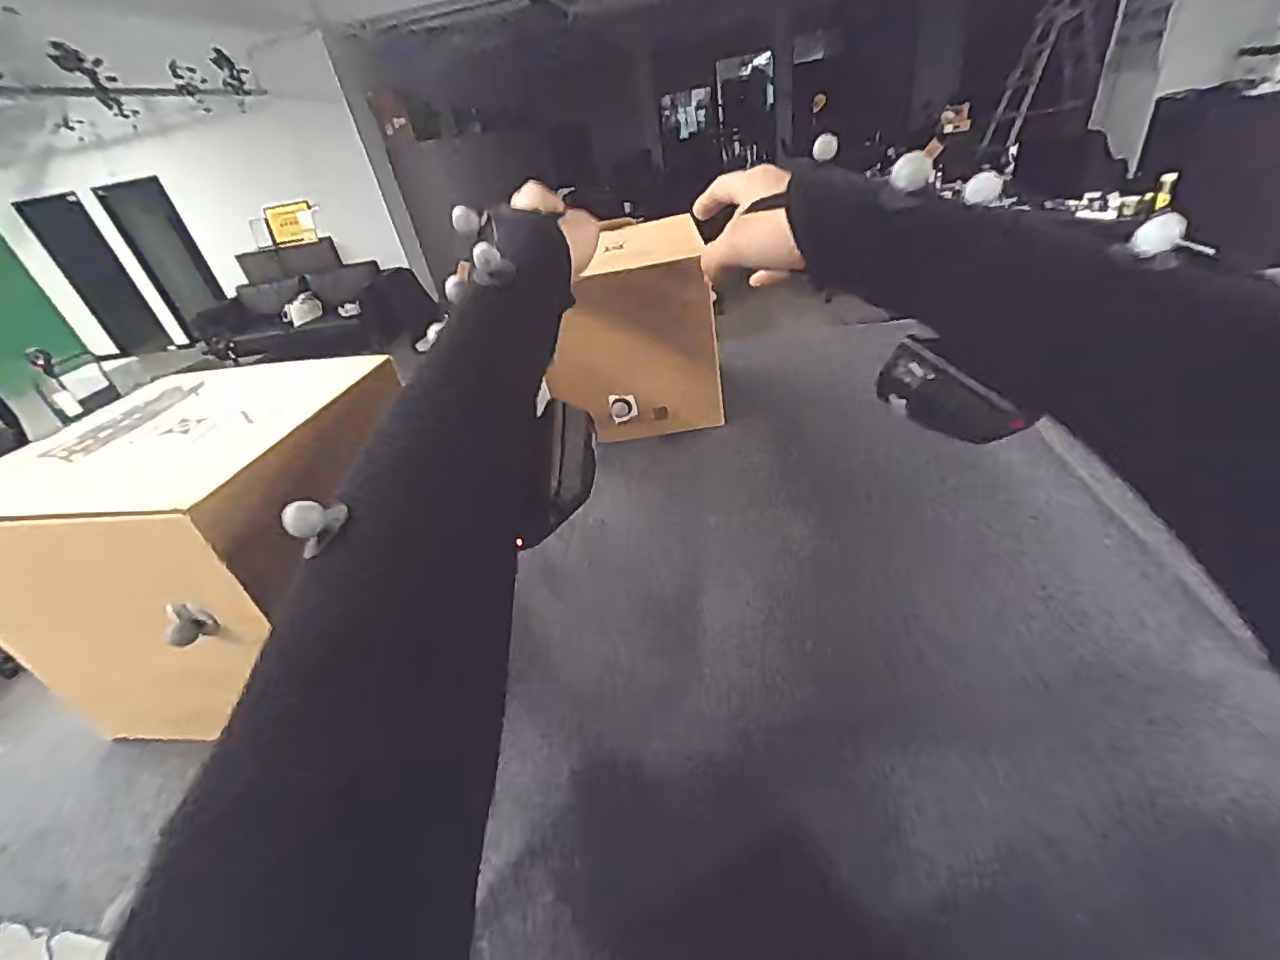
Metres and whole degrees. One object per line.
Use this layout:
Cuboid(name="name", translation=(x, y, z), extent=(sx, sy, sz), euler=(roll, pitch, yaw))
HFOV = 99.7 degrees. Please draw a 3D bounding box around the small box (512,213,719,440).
Cuboid(name="small box", translation=(-0.015, -0.160, 0.559), extent=(0.168, 0.176, 0.179), euler=(-9, 34, 5))
